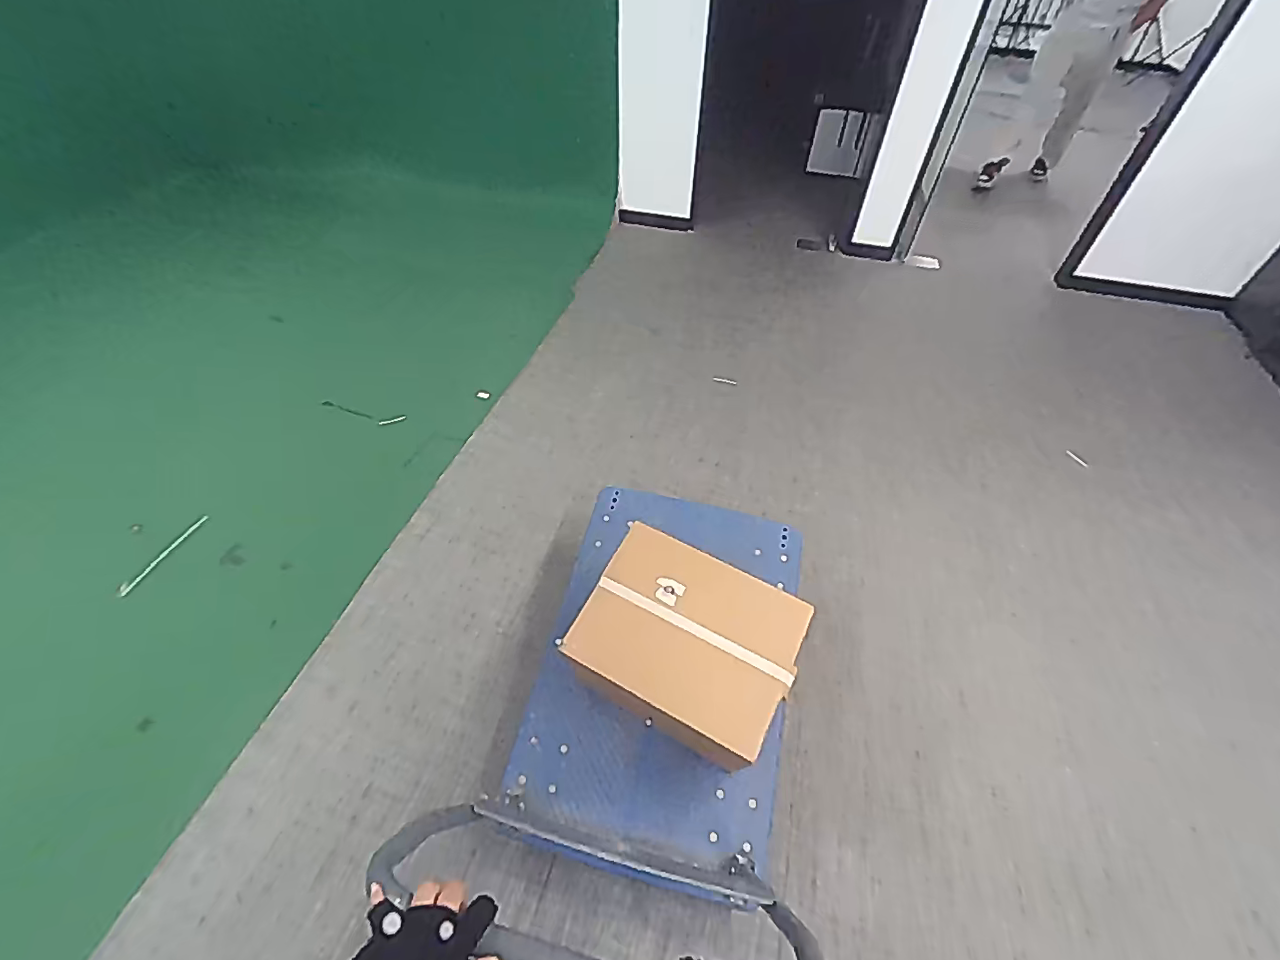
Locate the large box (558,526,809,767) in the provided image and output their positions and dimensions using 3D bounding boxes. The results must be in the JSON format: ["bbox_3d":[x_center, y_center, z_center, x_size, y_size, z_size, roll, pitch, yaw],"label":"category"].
[{"bbox_3d":[0.095,0.366,1.170,0.408,0.320,0.320,25,63,16],"label":"large box"}]
